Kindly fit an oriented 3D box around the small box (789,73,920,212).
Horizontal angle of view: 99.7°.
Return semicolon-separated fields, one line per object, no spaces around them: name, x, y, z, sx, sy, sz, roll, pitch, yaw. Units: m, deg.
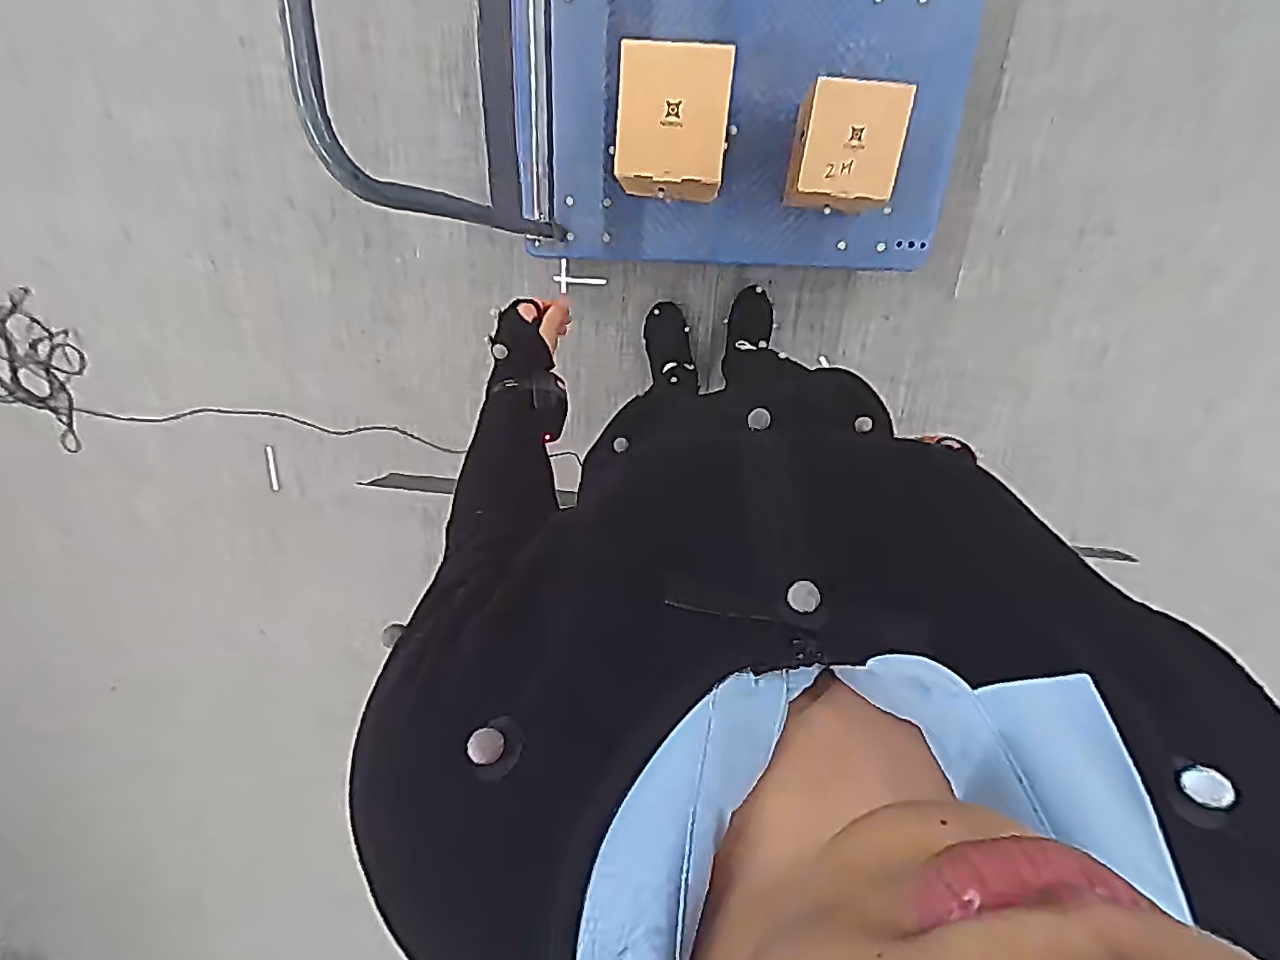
small box;0.382;-0.613;1.001;0.168;0.176;0.179;8;110;3

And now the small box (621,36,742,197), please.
small box;0.063;-0.572;0.871;0.168;0.176;0.179;5;111;3
